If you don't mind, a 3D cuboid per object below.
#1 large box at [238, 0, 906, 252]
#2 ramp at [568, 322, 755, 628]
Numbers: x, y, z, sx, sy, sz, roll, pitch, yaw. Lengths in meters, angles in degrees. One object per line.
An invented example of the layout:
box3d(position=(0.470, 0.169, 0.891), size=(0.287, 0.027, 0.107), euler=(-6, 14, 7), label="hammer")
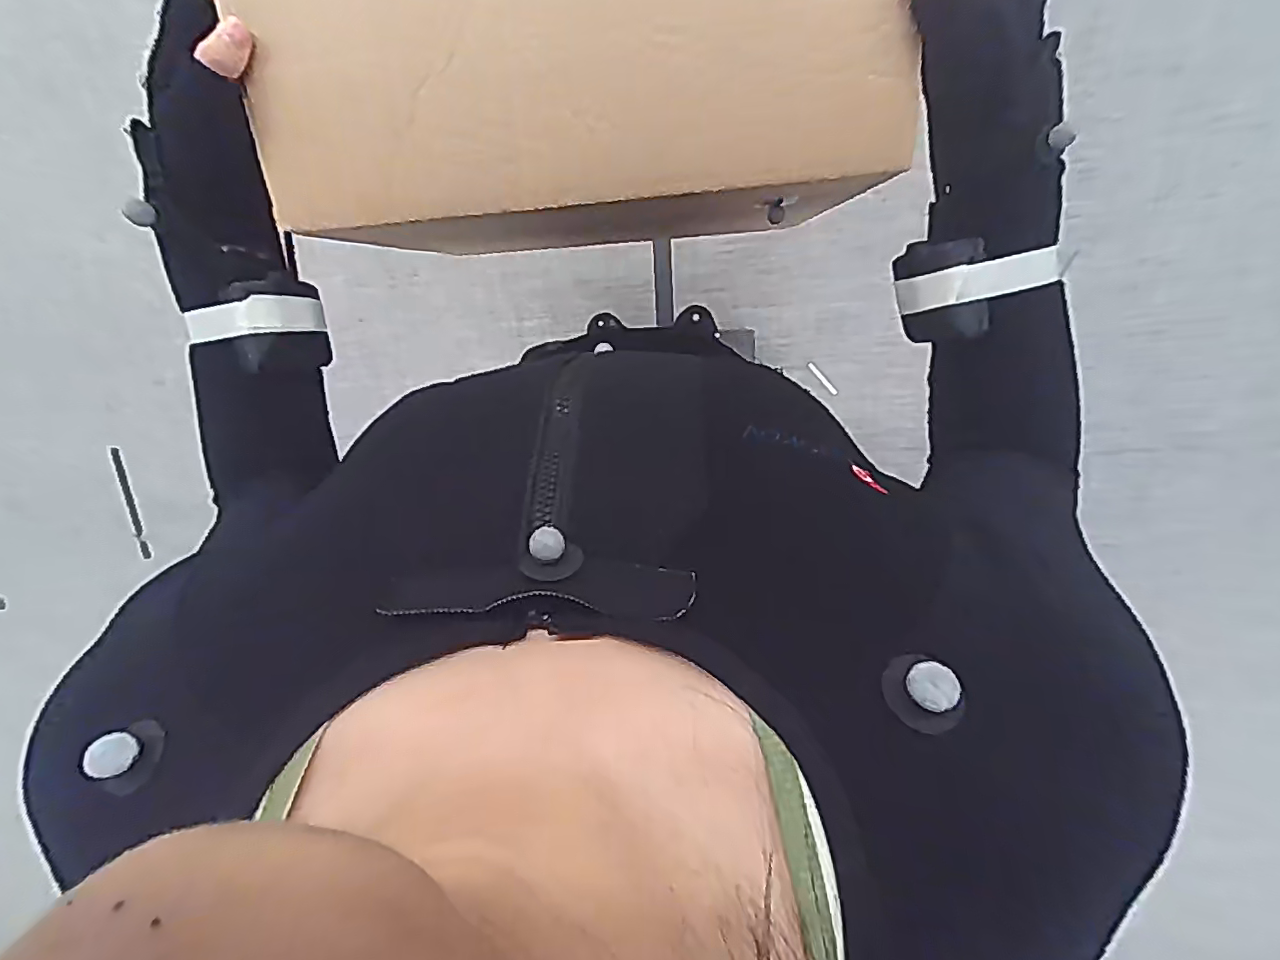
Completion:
box3d(position=(-0.039, -0.378, 0.445), size=(0.408, 0.320, 0.320), euler=(-3, 109, 5), label="large box")
box3d(position=(0.098, 0.050, 1.618), size=(0.509, 0.206, 0.991), euler=(-5, 107, 5), label="ramp")
